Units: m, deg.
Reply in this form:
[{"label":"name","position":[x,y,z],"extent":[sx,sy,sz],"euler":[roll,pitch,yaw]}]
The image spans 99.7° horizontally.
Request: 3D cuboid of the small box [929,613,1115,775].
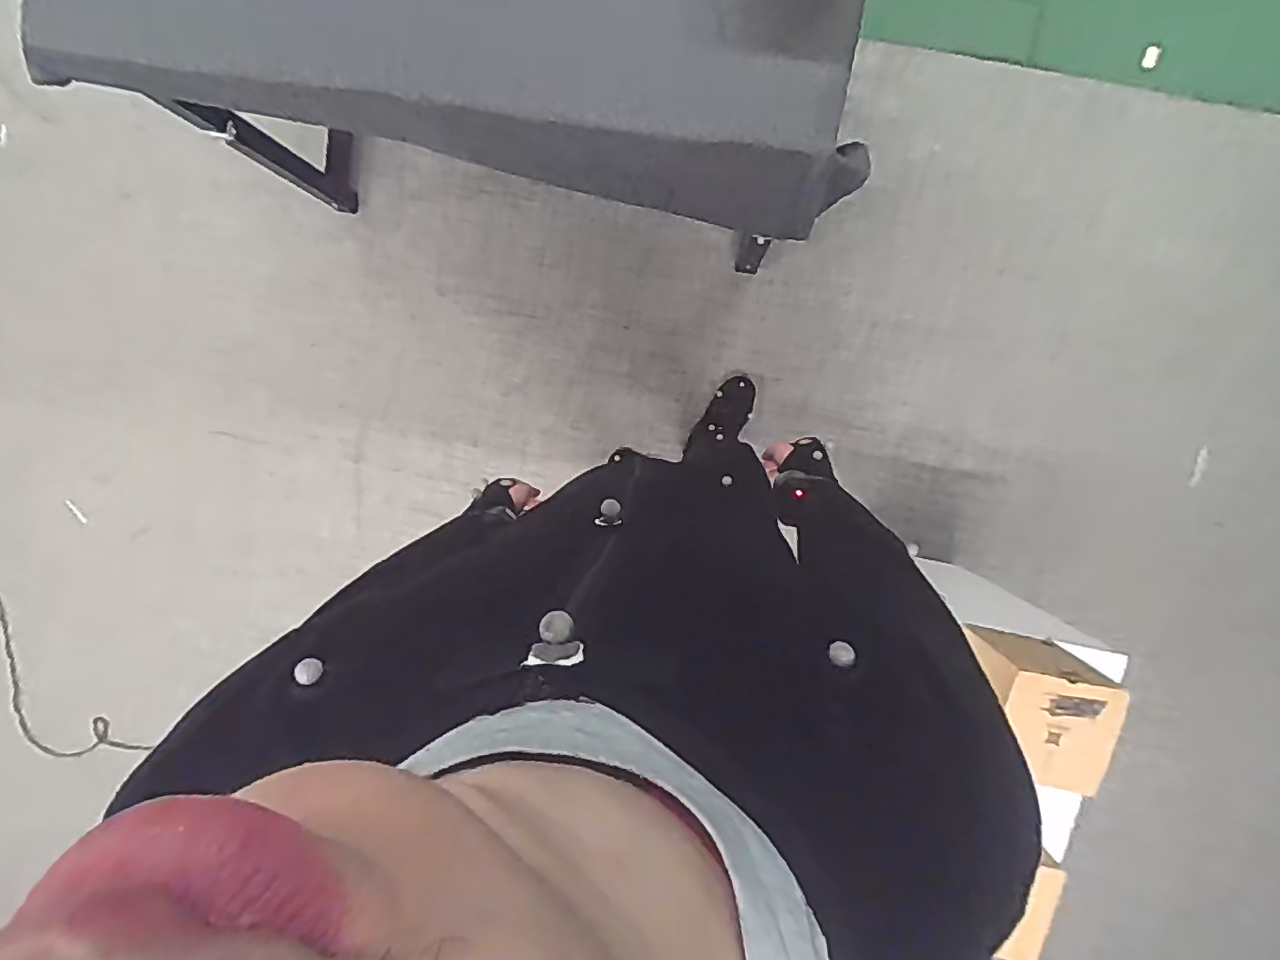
[{"label":"small box","position":[0.613,0.341,0.894],"extent":[0.168,0.176,0.179],"euler":[12,101,1]}]
